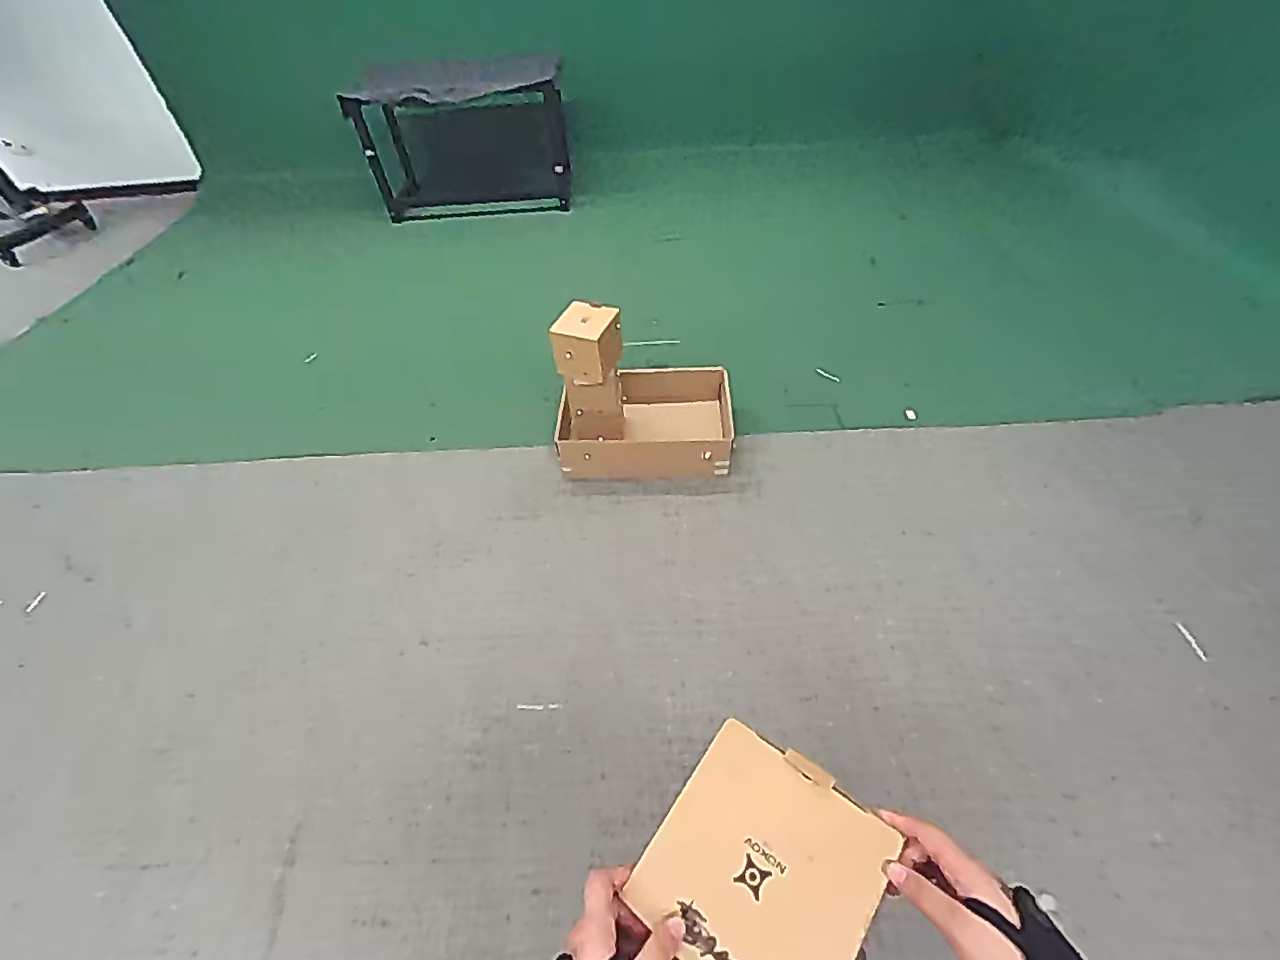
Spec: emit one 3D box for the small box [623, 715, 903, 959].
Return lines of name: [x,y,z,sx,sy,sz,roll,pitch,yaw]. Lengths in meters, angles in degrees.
small box: [0.112,0.360,0.499,0.168,0.176,0.179,26,63,31]

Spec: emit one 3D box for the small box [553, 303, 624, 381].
small box: [-0.156,-0.441,1.738,0.168,0.176,0.179,16,51,16]

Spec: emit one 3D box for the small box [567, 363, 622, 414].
small box: [-0.151,-0.339,1.865,0.168,0.176,0.179,-1,48,2]

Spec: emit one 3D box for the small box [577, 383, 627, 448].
small box: [-0.137,-0.239,1.994,0.168,0.176,0.179,-3,49,2]
